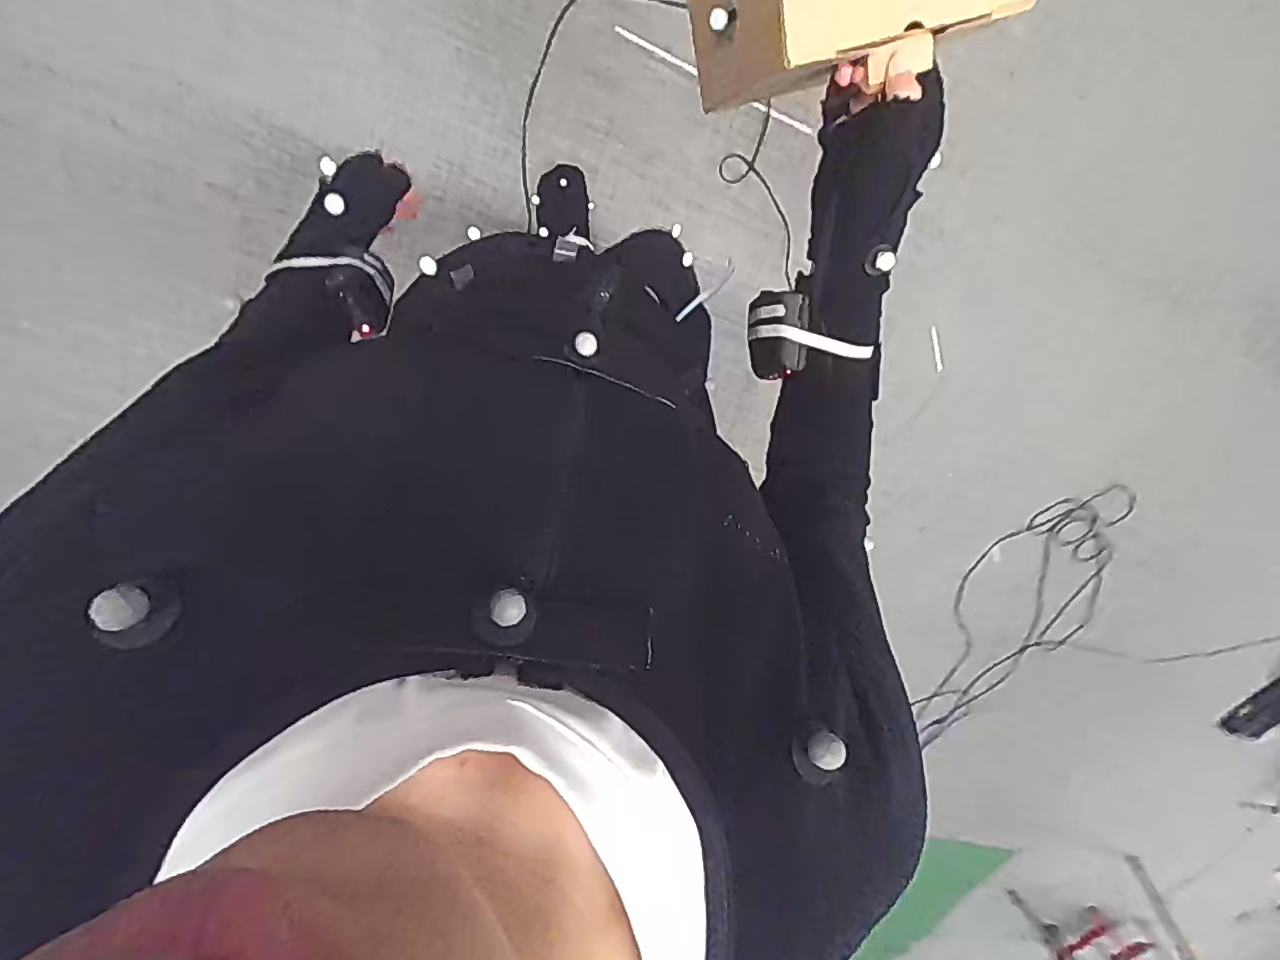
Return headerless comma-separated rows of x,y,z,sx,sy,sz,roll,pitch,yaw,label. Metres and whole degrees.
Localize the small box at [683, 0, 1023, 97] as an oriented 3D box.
0.125,-0.376,0.356,0.168,0.176,0.179,-17,119,-4,small box
